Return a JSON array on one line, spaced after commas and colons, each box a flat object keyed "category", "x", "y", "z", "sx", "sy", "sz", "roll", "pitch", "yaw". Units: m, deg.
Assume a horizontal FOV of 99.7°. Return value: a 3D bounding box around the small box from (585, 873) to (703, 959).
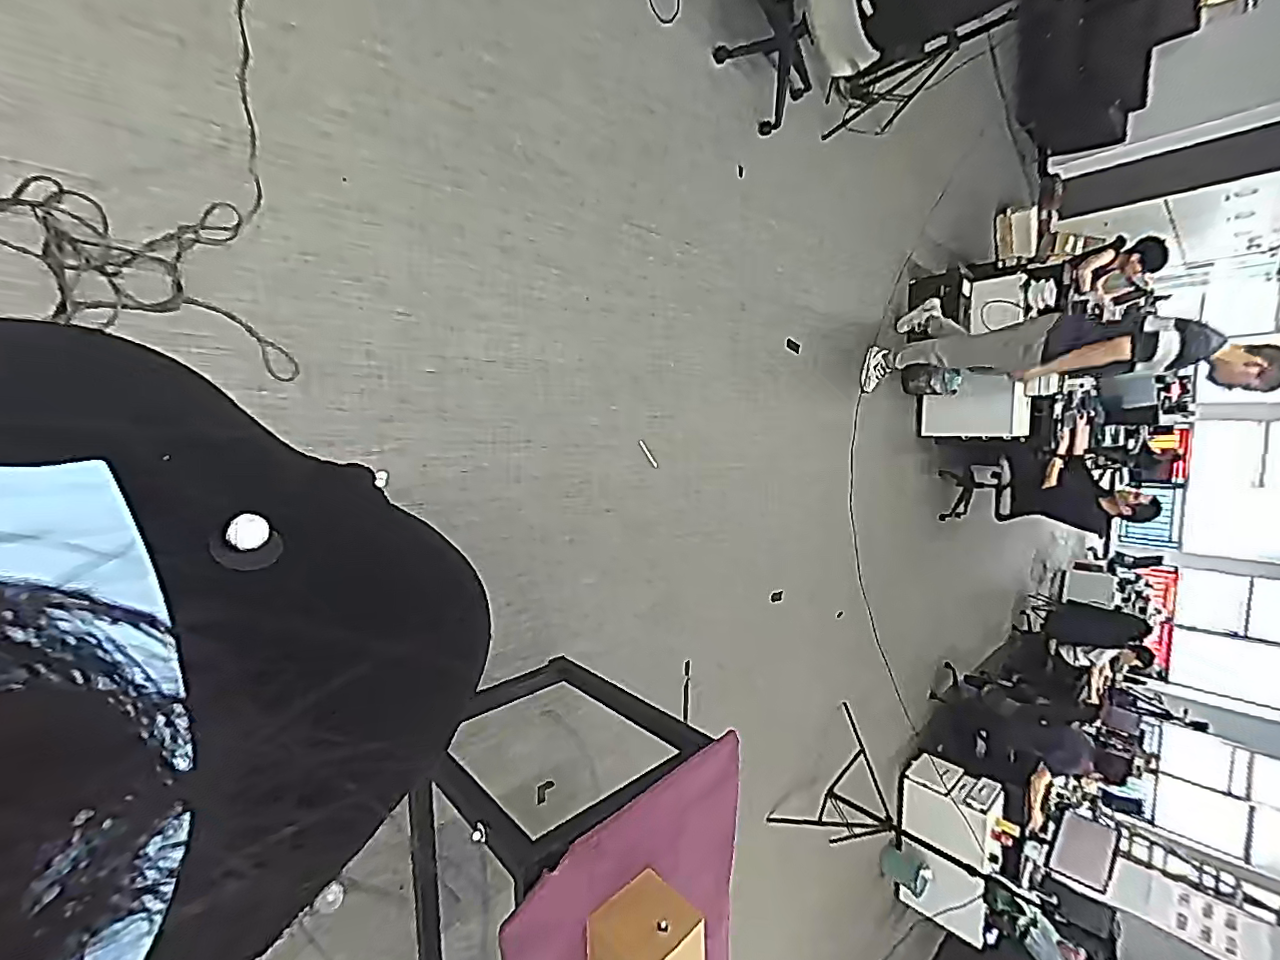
[{"category": "small box", "x": 0.008, "y": 0.955, "z": 1.092, "sx": 0.179, "sy": 0.176, "sz": 0.168, "roll": -9, "pitch": 101, "yaw": -42}]
